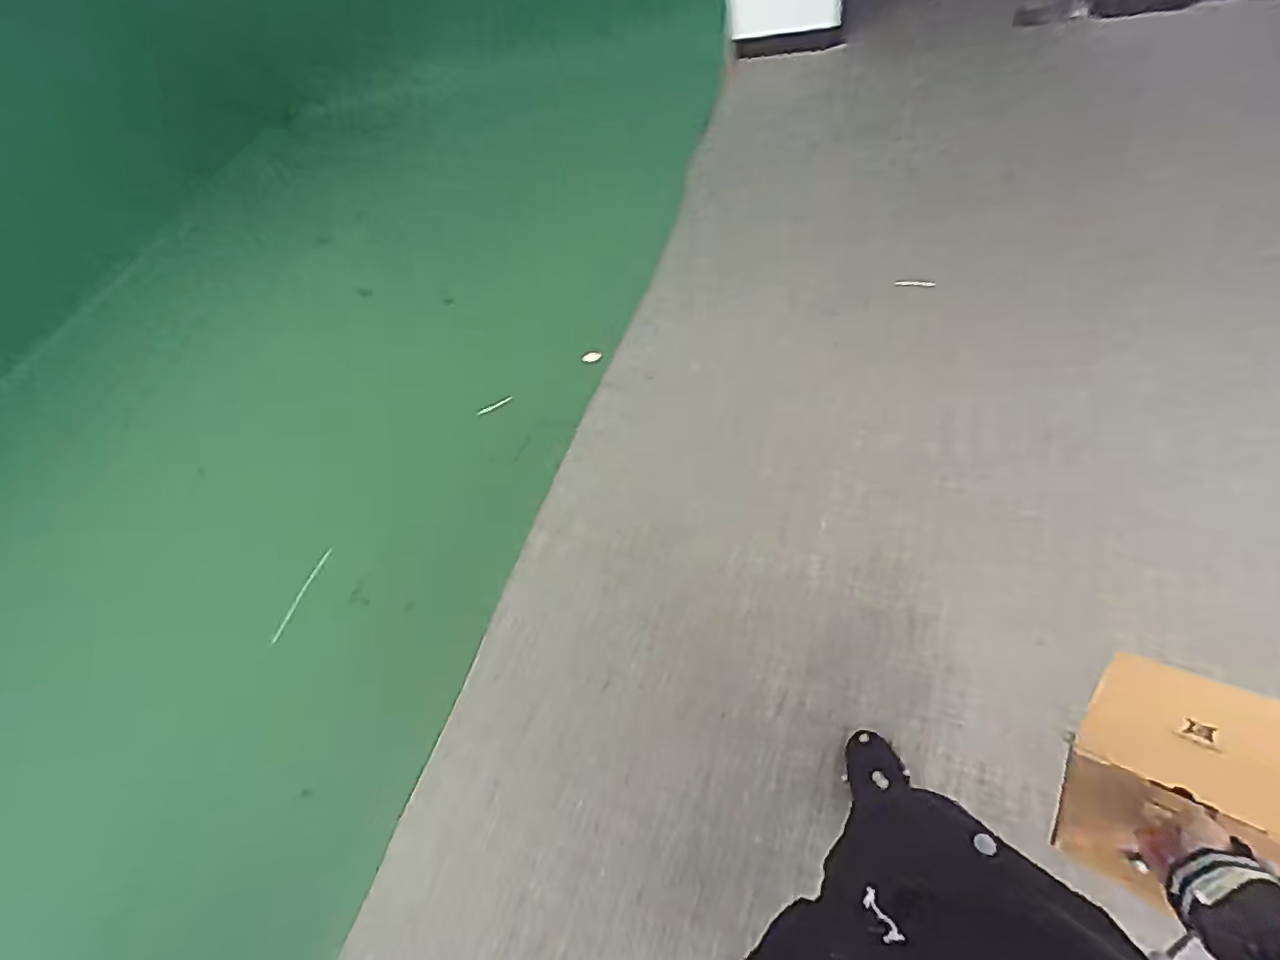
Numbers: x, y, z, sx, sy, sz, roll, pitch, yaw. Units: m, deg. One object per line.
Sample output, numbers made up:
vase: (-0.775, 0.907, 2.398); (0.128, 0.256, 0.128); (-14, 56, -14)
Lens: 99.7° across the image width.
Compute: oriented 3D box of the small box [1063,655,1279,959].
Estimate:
small box: (0.566, 0.324, 0.555); (0.179, 0.176, 0.168); (-28, 29, -33)
